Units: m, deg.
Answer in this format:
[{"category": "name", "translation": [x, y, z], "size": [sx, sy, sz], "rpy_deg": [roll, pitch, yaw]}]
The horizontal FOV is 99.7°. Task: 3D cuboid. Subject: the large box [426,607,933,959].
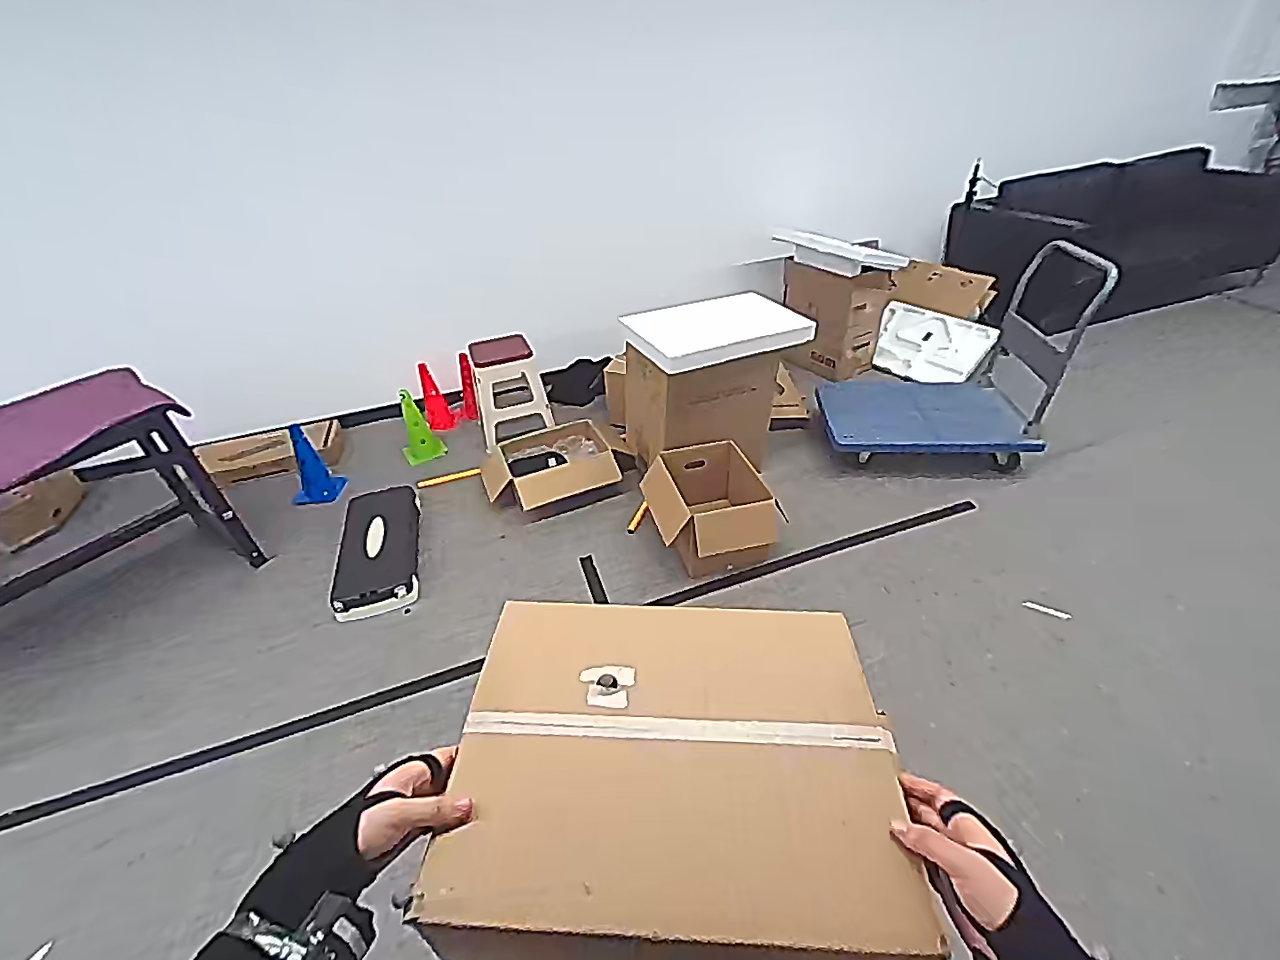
[{"category": "large box", "translation": [0.039, 0.367, 0.626], "size": [0.408, 0.320, 0.320], "rpy_deg": [0, 35, 3]}]
